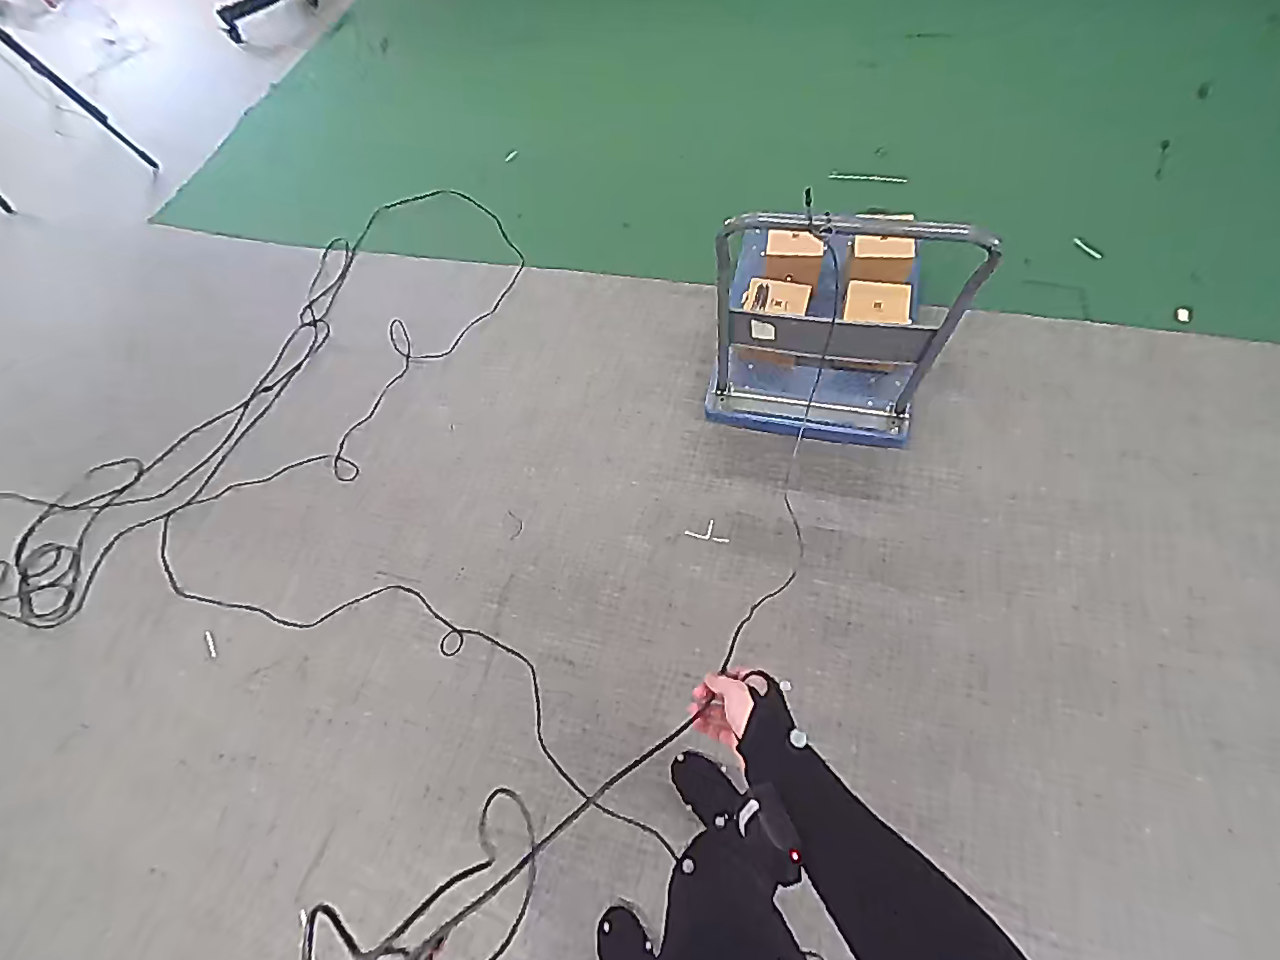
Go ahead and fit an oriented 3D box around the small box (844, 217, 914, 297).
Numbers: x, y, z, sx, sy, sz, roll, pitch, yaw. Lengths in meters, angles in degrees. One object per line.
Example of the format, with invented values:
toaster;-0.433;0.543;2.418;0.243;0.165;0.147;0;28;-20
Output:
small box;0.727;-0.673;1.655;0.168;0.176;0.179;6;66;12

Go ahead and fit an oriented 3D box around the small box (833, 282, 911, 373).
small box;0.660;-0.434;1.548;0.168;0.176;0.179;11;67;14

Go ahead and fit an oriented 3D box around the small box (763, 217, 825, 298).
small box;0.481;-0.698;1.706;0.168;0.176;0.179;7;65;11
